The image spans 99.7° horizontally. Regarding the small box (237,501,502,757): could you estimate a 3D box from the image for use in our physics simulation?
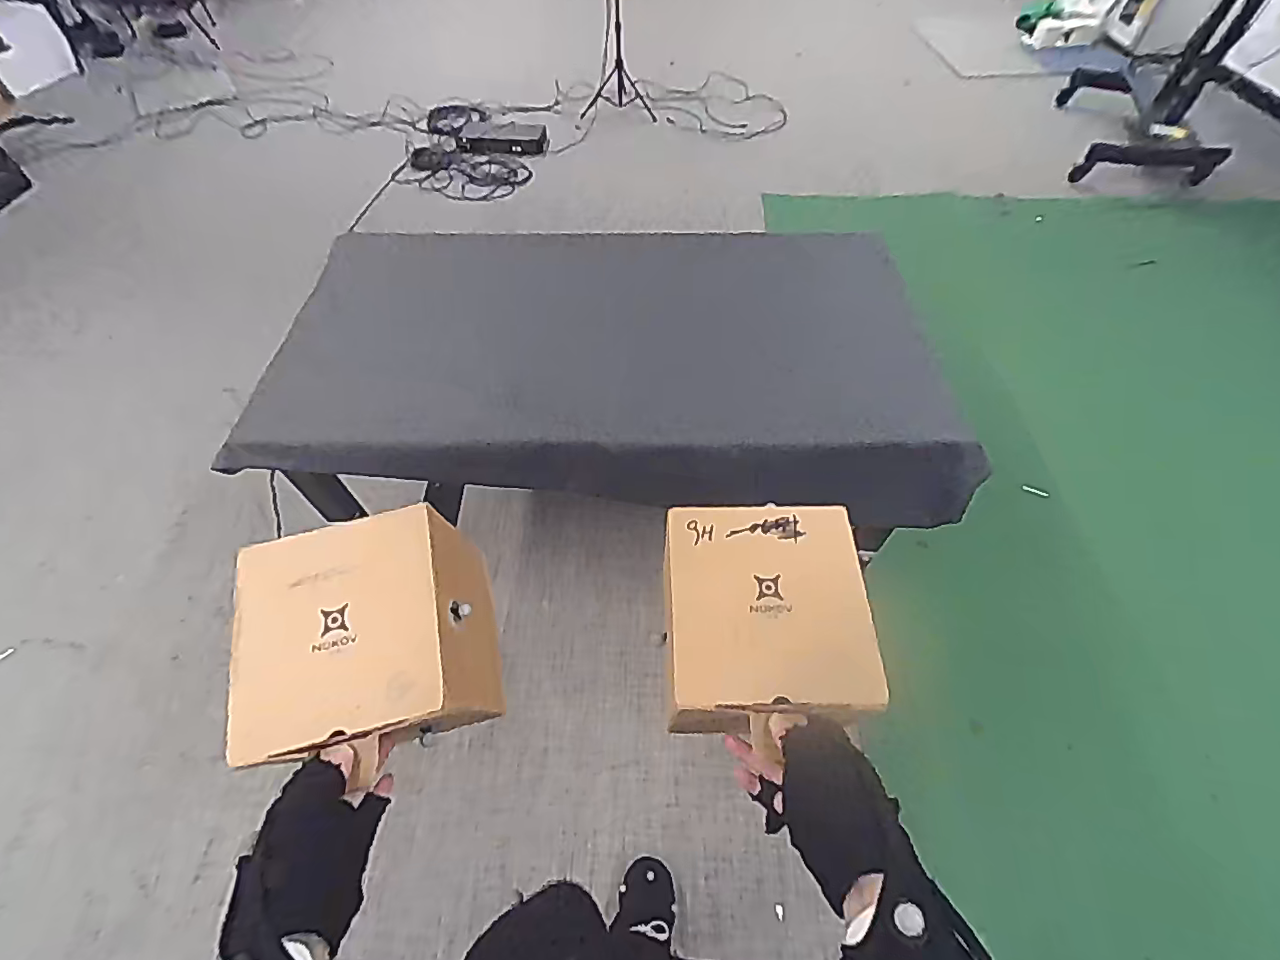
[{"bbox_3d":[-0.243,0.145,0.520,0.168,0.176,0.179,-15,66,-3],"label":"small box"}]
